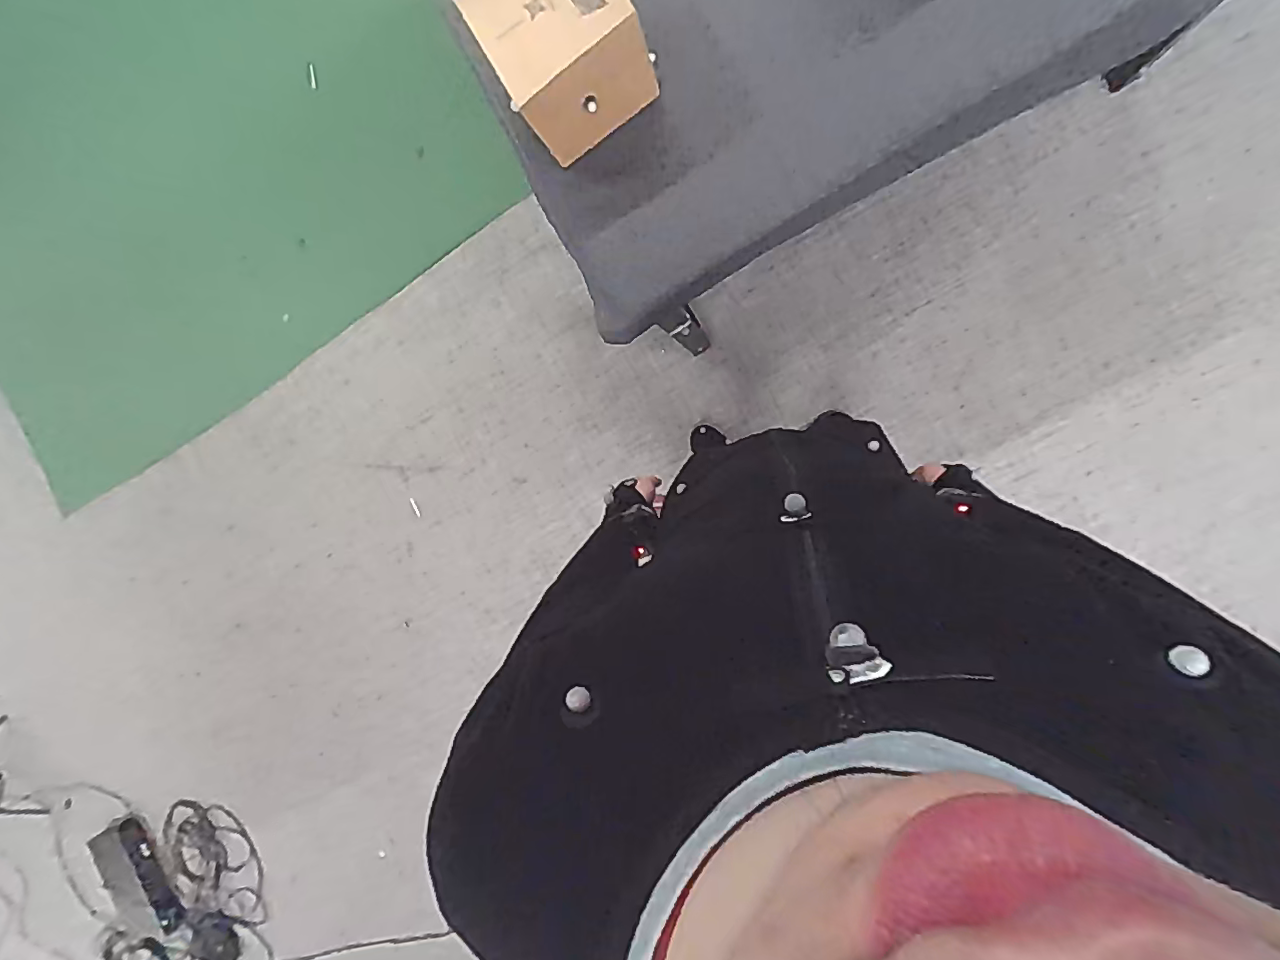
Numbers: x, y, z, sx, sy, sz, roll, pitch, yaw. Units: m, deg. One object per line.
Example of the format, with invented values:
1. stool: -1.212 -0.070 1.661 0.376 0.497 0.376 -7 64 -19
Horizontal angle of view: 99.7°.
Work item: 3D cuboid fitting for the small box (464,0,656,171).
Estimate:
1. small box: -0.092 -0.567 0.728 0.179 0.176 0.168 -30 89 15
